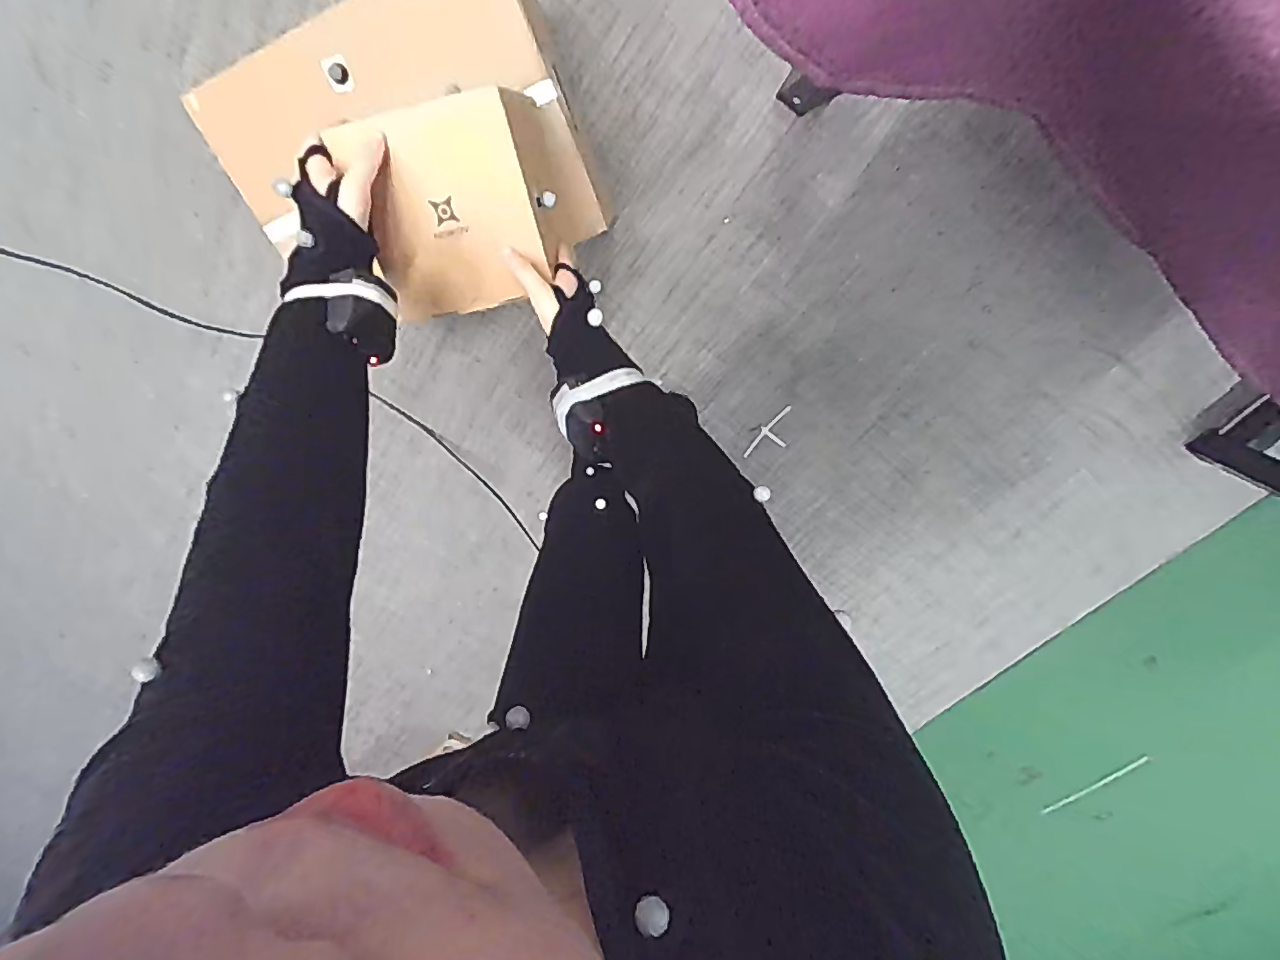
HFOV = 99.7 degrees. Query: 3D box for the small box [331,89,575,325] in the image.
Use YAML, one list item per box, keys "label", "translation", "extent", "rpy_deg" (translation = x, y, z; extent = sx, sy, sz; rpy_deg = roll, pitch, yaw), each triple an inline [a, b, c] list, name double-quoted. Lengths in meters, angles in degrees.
- label: "small box"
  translation: [-0.174, -0.287, 0.571]
  extent: [0.168, 0.176, 0.179]
  rpy_deg: [-9, 124, 8]
